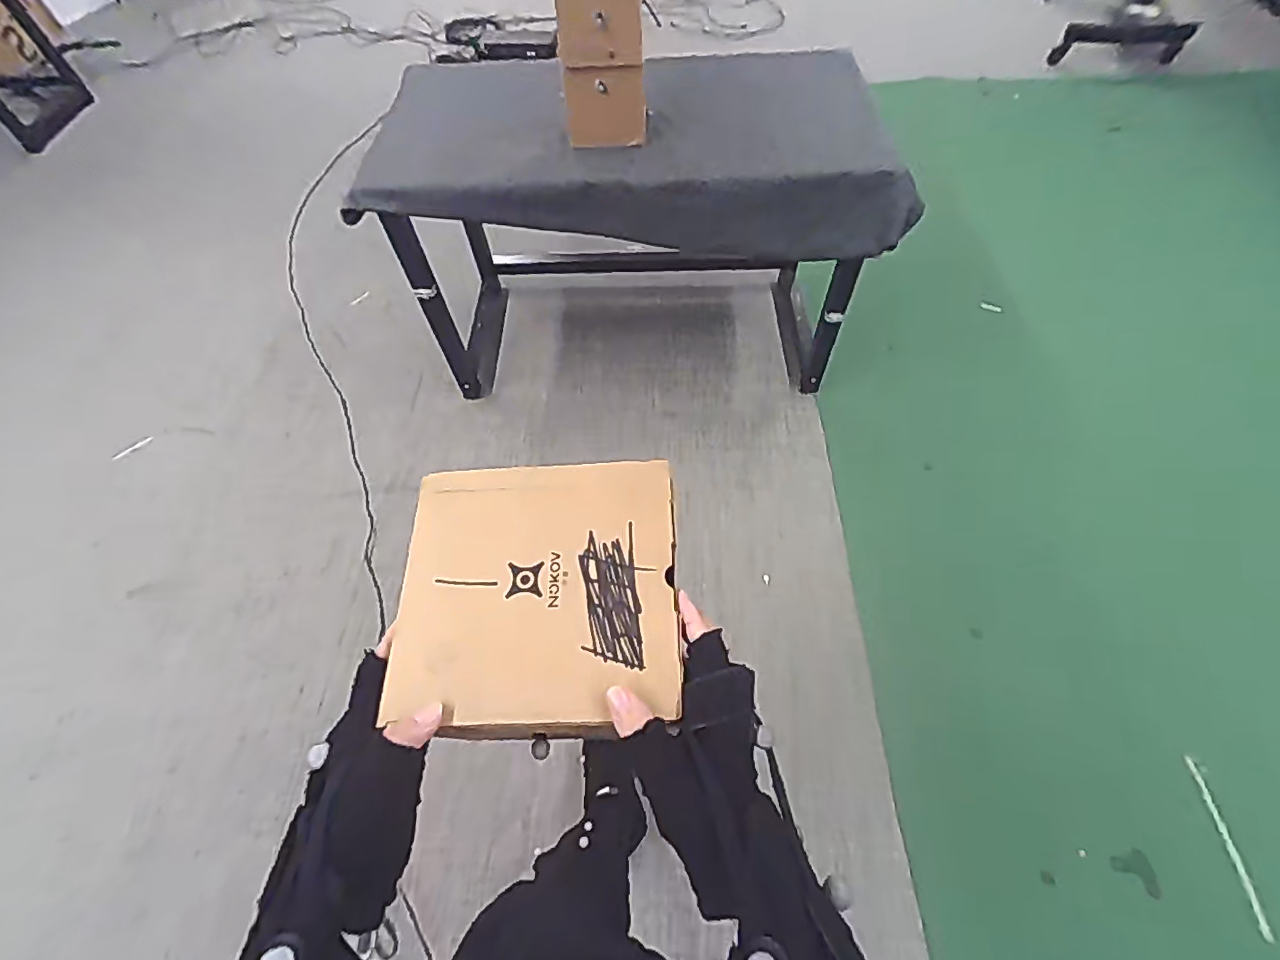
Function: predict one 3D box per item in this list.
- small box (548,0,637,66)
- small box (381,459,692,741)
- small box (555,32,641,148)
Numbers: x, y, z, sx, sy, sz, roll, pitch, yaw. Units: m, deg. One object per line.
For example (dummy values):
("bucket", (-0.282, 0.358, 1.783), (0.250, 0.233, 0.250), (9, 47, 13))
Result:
("small box", (-0.091, -0.955, 1.076), (0.168, 0.176, 0.179), (-2, 59, 1))
("small box", (-0.062, 0.099, 0.406), (0.179, 0.176, 0.168), (-5, 63, -1))
("small box", (-0.087, -0.874, 1.218), (0.179, 0.176, 0.168), (-1, 59, 0))
